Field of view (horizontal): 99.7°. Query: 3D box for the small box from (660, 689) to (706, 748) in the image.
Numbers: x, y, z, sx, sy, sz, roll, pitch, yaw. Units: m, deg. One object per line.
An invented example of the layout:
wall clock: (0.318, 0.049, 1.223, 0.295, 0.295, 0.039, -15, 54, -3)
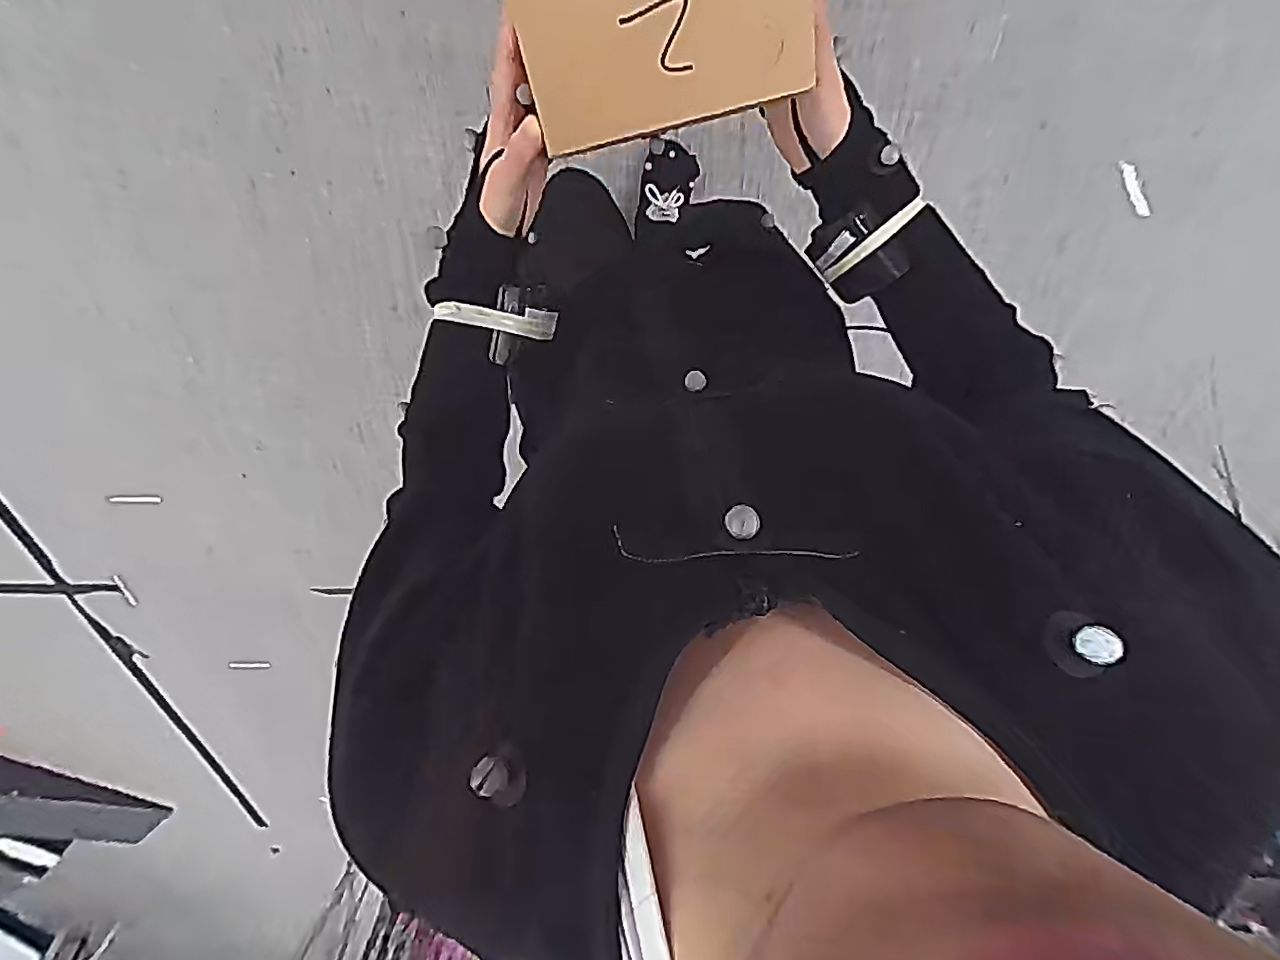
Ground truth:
small box: (0.174, 0.995, 2.266, 0.168, 0.176, 0.179, 1, 125, -3)
